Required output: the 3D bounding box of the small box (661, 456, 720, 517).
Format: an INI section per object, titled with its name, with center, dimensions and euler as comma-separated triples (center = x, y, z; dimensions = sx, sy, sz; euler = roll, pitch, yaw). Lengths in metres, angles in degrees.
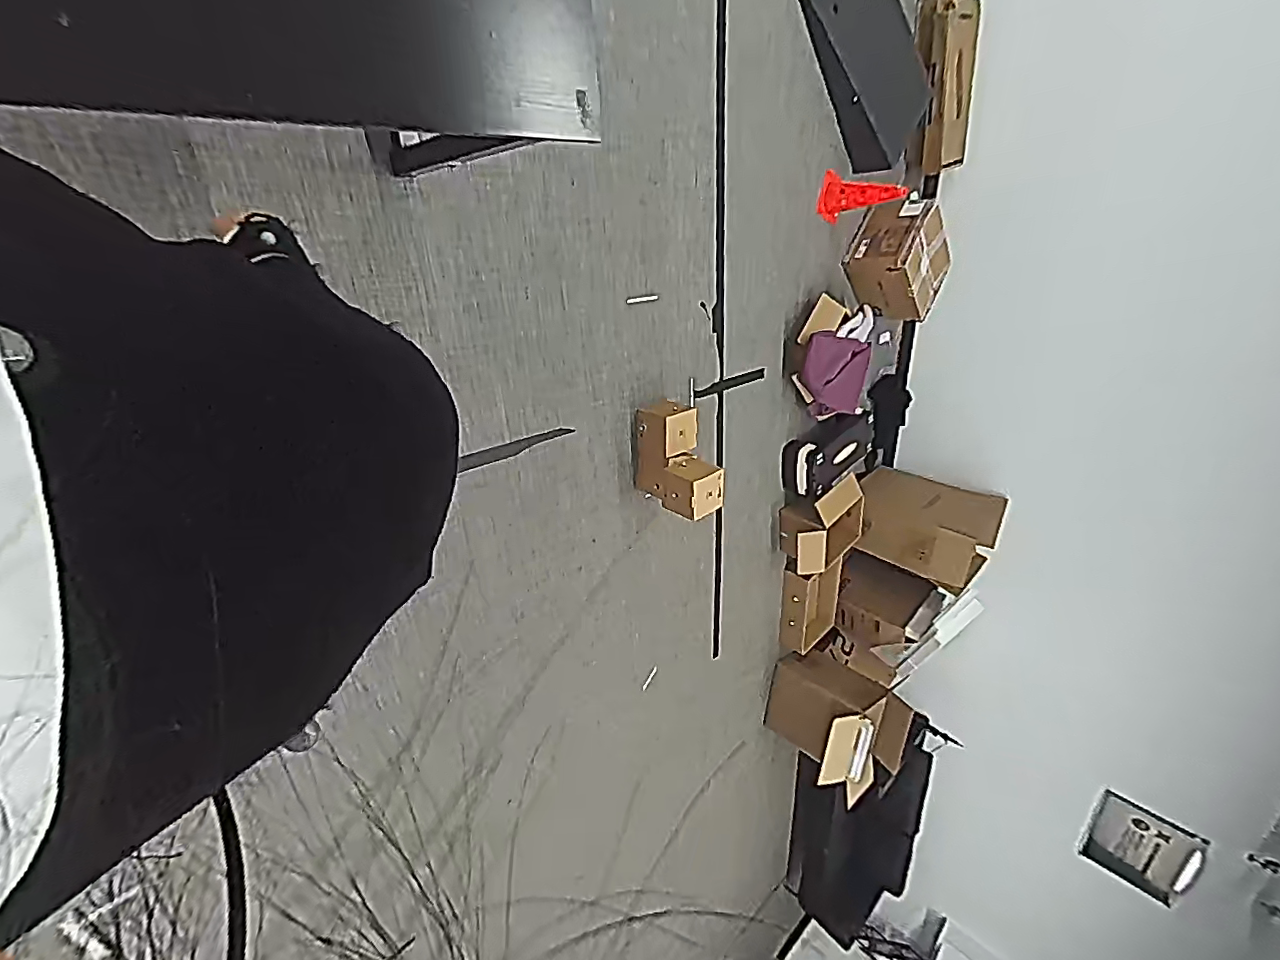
[small box]
center = 0.192, 0.020, 2.097
dimensions = 0.179, 0.176, 0.168
euler = -22, 121, -37
